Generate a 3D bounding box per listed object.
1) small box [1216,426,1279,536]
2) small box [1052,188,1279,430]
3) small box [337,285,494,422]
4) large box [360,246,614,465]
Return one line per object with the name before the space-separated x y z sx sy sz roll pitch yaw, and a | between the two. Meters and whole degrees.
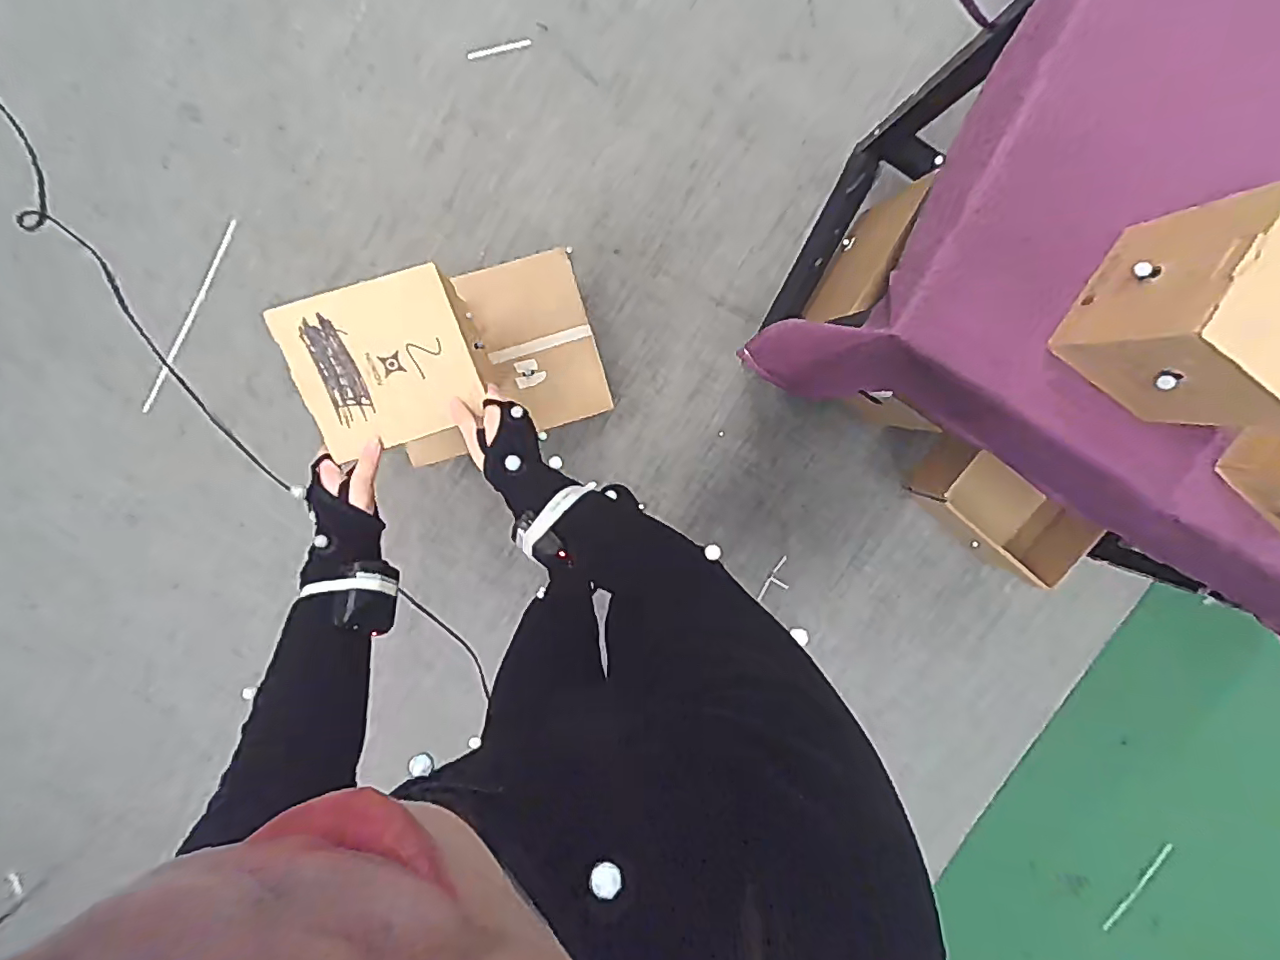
small box | 0.864 -0.020 0.634 0.168 0.176 0.179 36 96 -10
small box | 0.609 -0.166 0.583 0.179 0.176 0.168 31 96 -9
small box | -0.358 -0.207 0.909 0.179 0.176 0.168 -20 99 -1
large box | -0.295 -0.253 1.158 0.408 0.320 0.320 -17 102 -3
